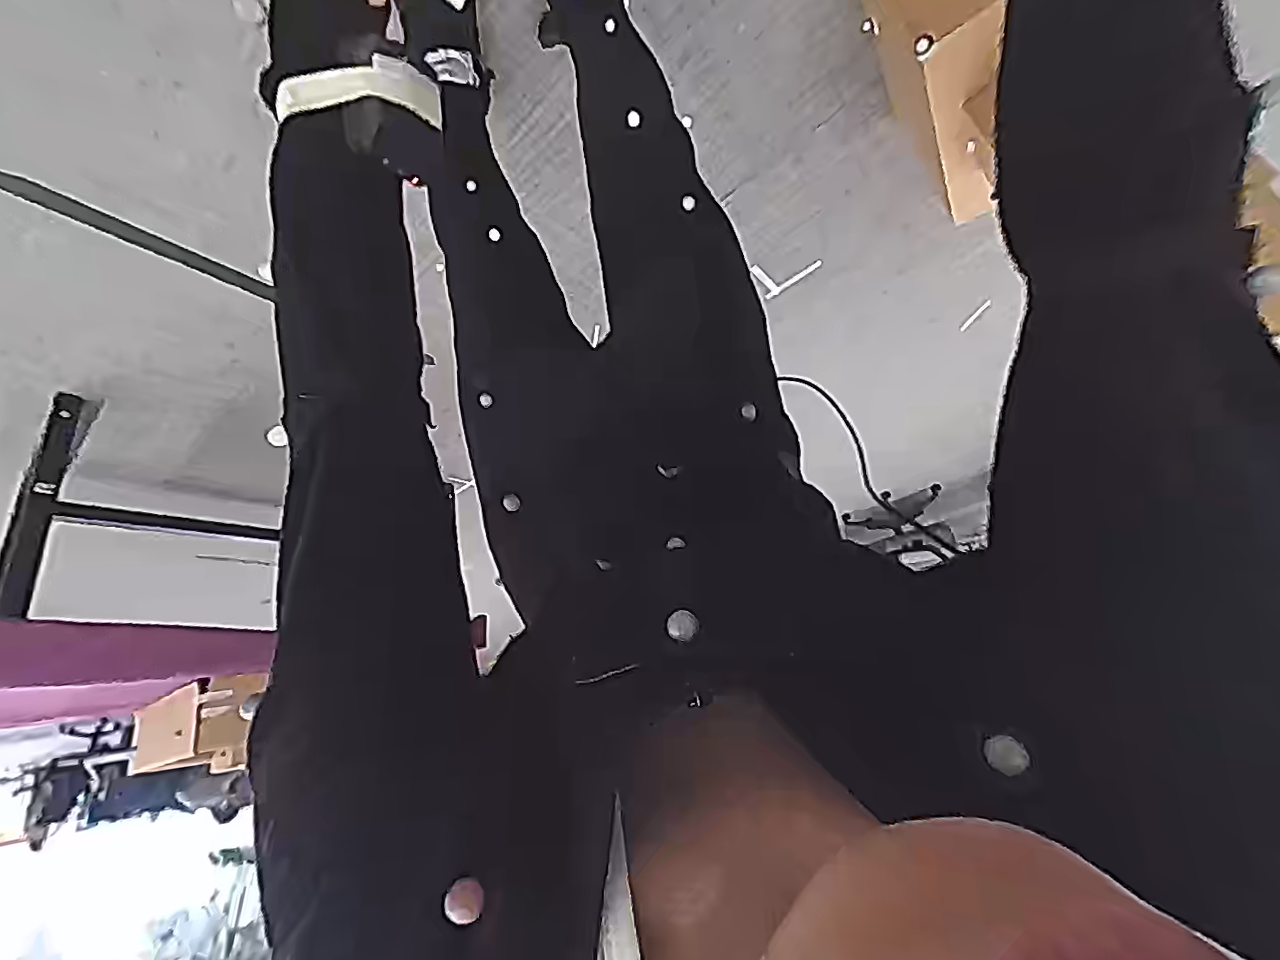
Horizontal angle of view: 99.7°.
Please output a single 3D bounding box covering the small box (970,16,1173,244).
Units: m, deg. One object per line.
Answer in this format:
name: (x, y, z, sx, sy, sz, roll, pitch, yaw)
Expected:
small box: (0.604, -0.491, 0.778, 0.179, 0.176, 0.168, -28, 153, 33)
